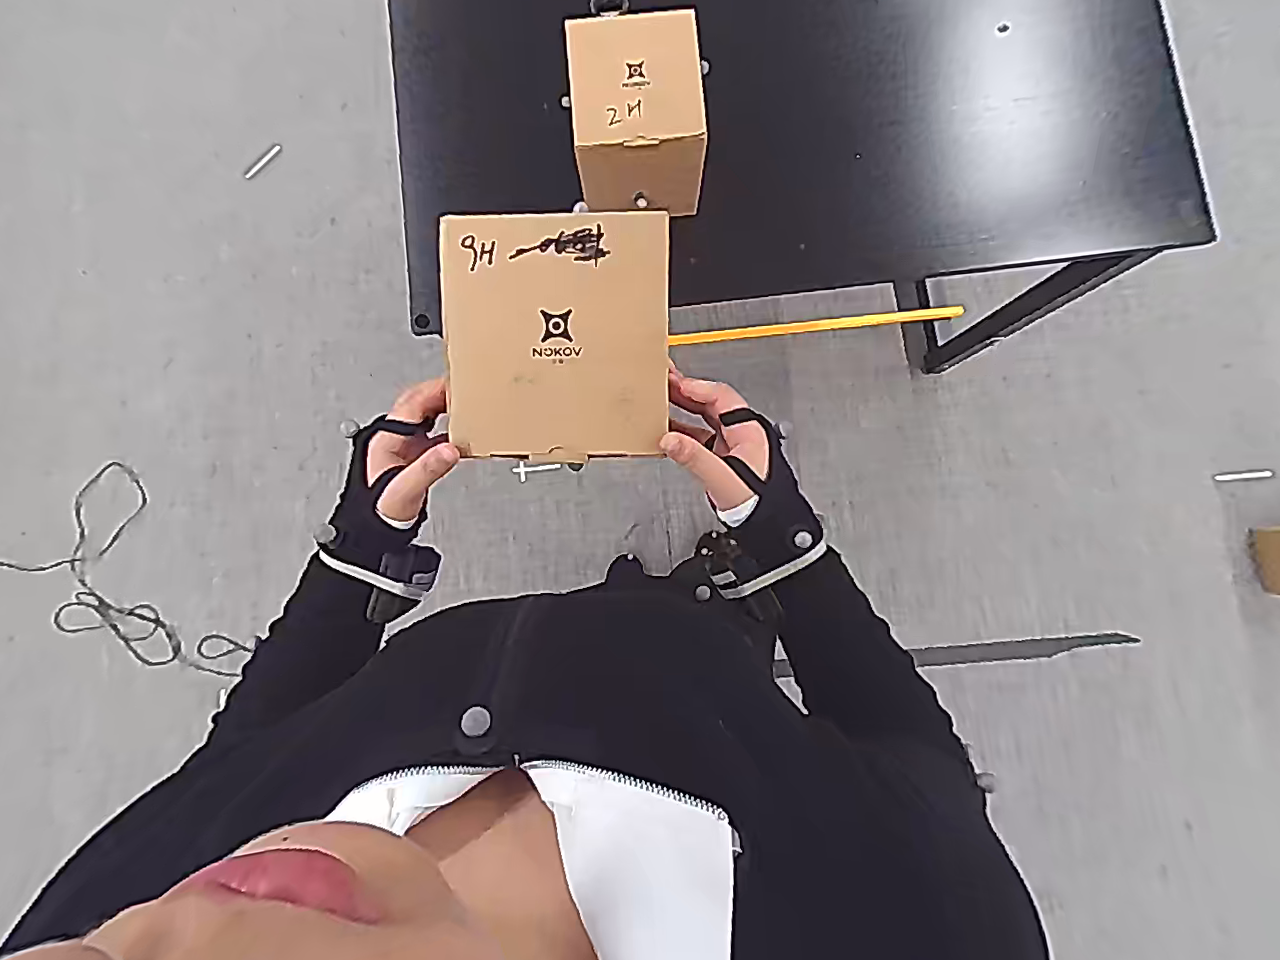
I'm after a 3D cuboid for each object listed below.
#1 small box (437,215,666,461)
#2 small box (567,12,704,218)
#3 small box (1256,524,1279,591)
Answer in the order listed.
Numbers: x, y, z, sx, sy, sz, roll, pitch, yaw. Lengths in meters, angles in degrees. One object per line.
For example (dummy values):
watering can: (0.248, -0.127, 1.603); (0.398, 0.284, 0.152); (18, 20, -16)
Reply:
small box: (-0.060, -0.111, 0.475); (0.168, 0.176, 0.179); (0, 97, 2)
small box: (-0.007, -0.493, 0.755); (0.168, 0.176, 0.179); (-5, 84, 1)
small box: (1.751, 0.195, 1.379); (0.168, 0.176, 0.179); (-8, 85, 1)
